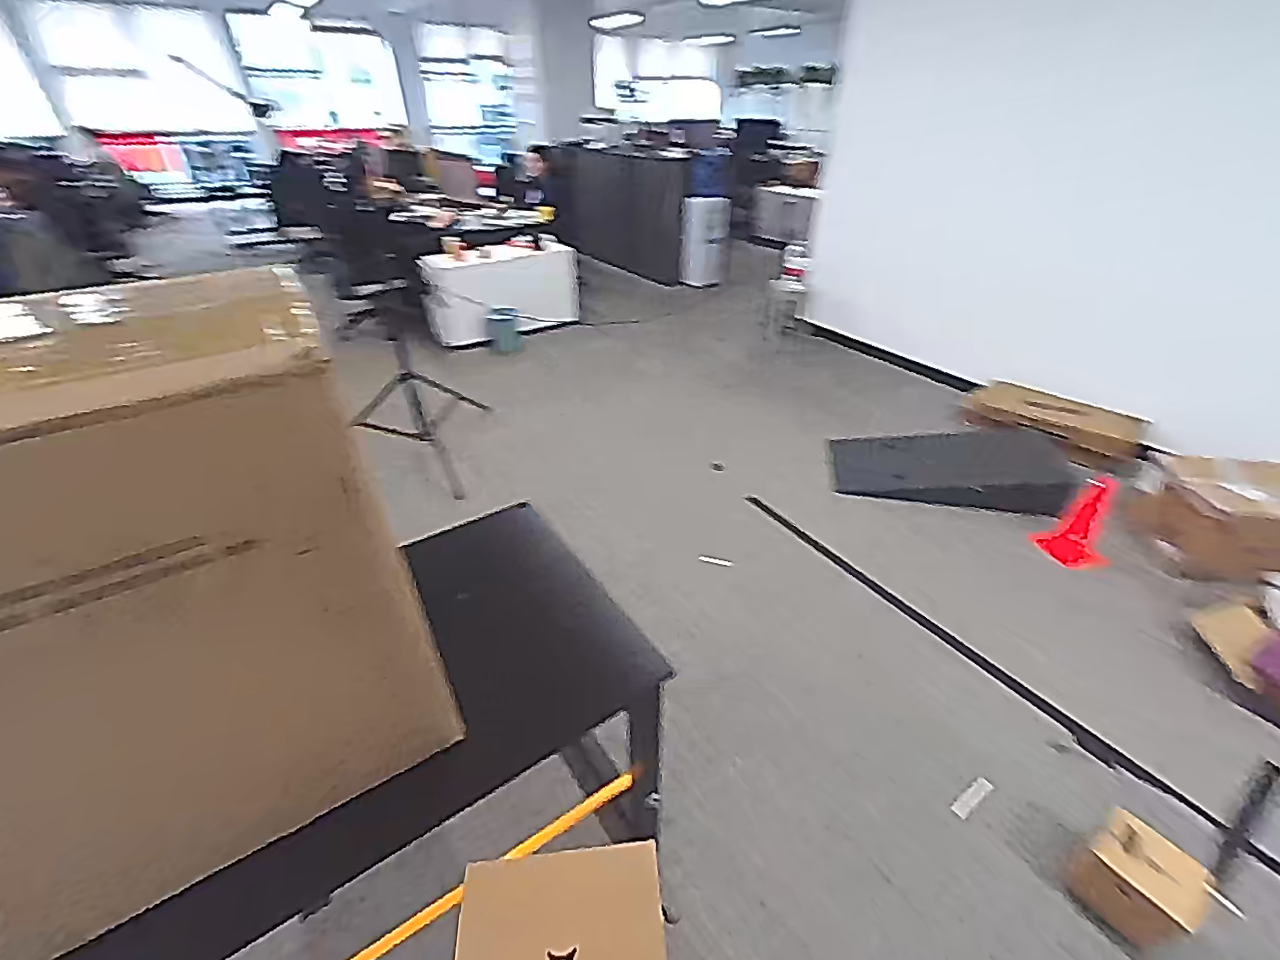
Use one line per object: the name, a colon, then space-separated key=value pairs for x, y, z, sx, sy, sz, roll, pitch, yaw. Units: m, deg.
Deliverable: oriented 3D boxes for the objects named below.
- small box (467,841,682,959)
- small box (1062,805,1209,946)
small box: x=-0.048 y=0.433 z=0.447 sx=0.168 sy=0.176 sz=0.179 roll=-4 pitch=38 yaw=-2
small box: x=1.118 y=0.901 z=1.234 sx=0.168 sy=0.176 sz=0.179 roll=-24 pitch=42 yaw=-29
